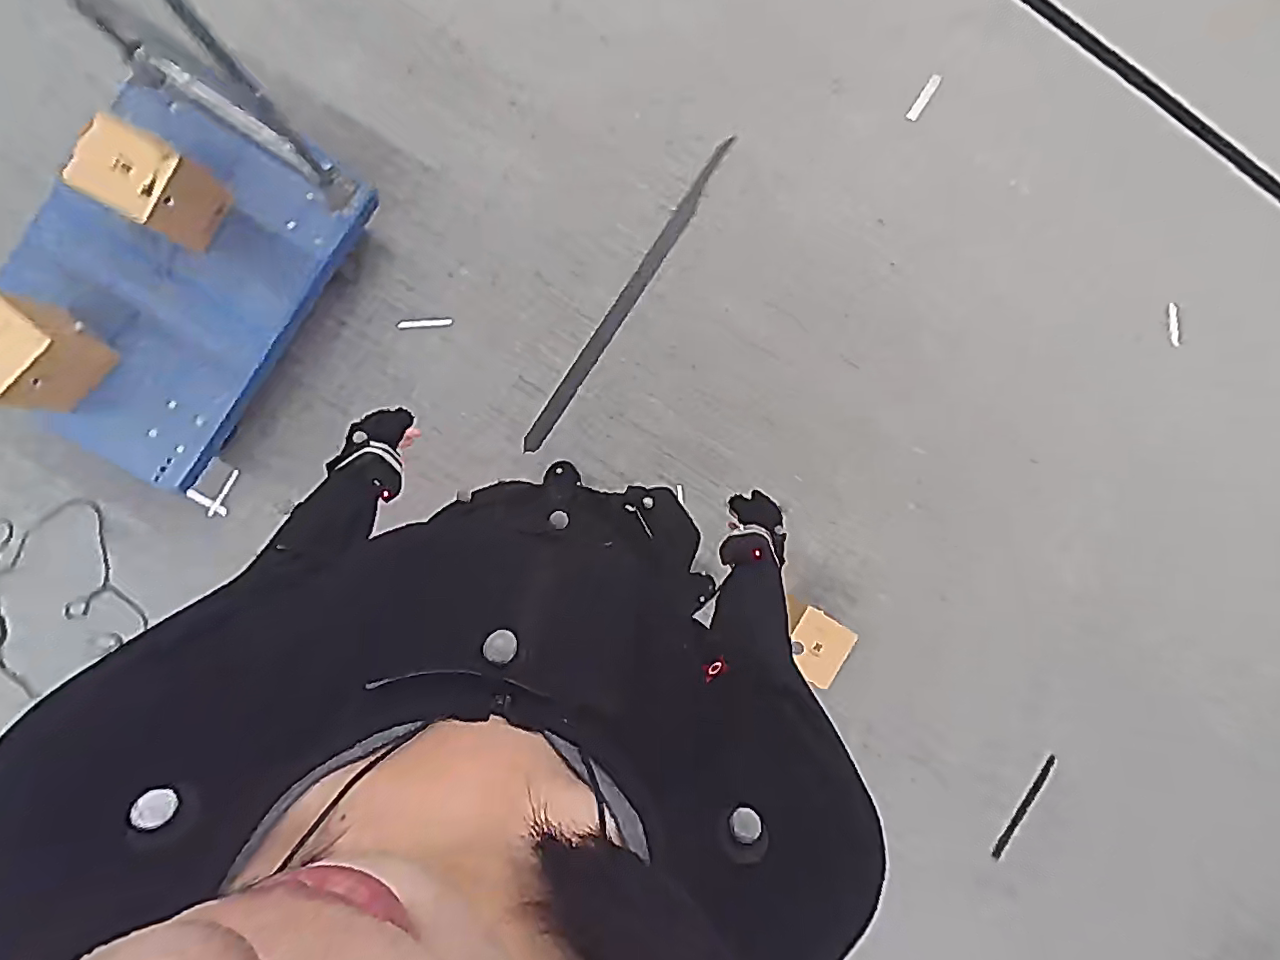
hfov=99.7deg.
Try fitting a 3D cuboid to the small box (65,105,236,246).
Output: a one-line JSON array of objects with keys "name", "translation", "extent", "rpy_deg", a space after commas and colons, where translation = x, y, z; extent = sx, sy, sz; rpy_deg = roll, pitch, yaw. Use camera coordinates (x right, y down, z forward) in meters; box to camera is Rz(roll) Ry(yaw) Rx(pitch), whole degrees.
[{"name": "small box", "translation": [-1.031, -0.636, 1.155], "extent": [0.179, 0.176, 0.168], "rpy_deg": [29, 89, -4]}]

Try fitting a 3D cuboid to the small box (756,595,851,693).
[{"name": "small box", "translation": [0.441, 0.446, 1.498], "extent": [0.168, 0.176, 0.179], "rpy_deg": [32, 88, -6]}]

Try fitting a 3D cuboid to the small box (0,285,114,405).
[{"name": "small box", "translation": [-1.294, -0.277, 1.140], "extent": [0.168, 0.176, 0.179], "rpy_deg": [43, 86, -5]}]
